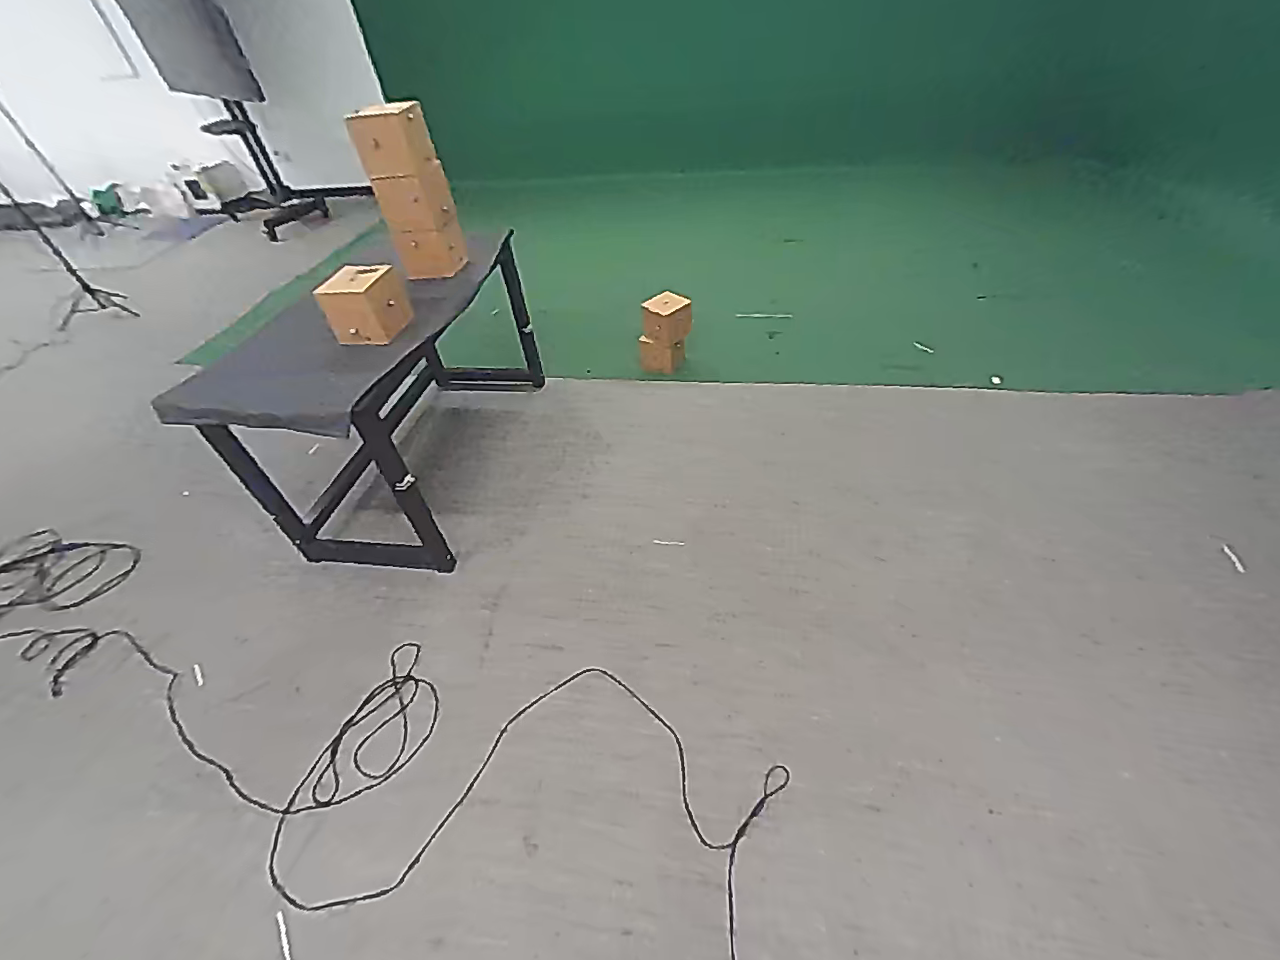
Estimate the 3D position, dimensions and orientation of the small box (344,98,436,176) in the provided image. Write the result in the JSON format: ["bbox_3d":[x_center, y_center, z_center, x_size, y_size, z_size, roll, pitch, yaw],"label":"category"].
[{"bbox_3d":[-0.772,-1.069,1.689,0.179,0.176,0.168,0,45,9],"label":"small box"}]

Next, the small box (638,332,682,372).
[{"bbox_3d":[0.104,-0.655,2.680,0.168,0.176,0.179,16,49,21],"label":"small box"}]

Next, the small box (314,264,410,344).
[{"bbox_3d":[-0.814,-0.525,1.610,0.168,0.176,0.179,3,46,11],"label":"small box"}]

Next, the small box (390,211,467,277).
[{"bbox_3d":[-0.741,-0.837,1.919,0.179,0.176,0.168,2,45,11],"label":"small box"}]

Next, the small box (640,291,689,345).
[{"bbox_3d":[0.121,-0.765,2.557,0.179,0.176,0.168,-35,53,-27],"label":"small box"}]
